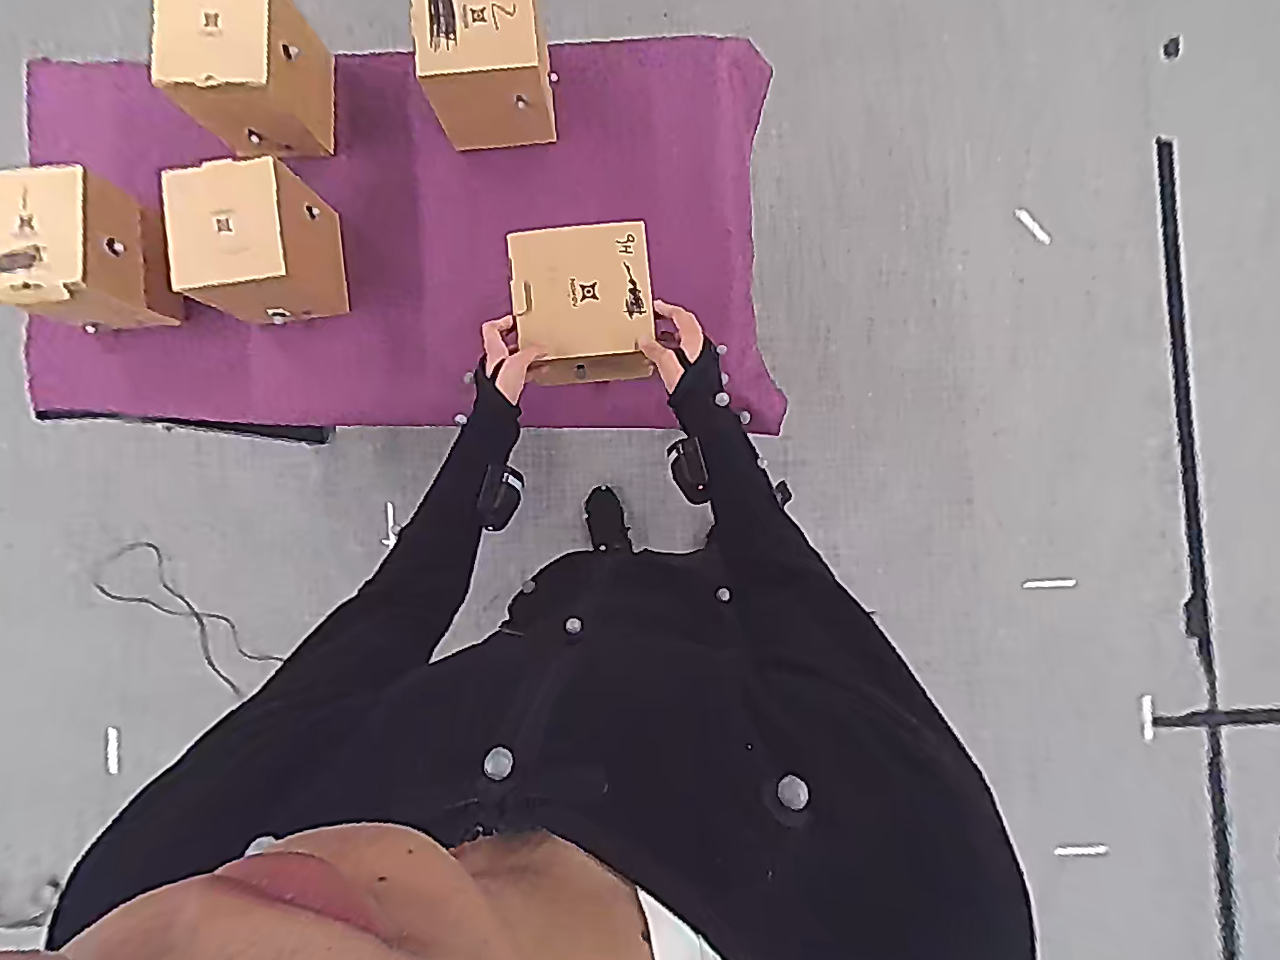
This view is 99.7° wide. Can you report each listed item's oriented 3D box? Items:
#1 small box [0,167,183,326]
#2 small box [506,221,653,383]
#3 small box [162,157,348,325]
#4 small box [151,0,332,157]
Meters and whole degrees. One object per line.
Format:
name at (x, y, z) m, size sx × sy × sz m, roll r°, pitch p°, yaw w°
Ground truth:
small box at (-0.860, -0.349, 0.842) m, size 0.168 × 0.176 × 0.179 m, roll -4°, pitch 87°, yaw 0°
small box at (-0.075, -0.235, 0.754) m, size 0.179 × 0.176 × 0.168 m, roll -5°, pitch 90°, yaw 0°
small box at (-0.586, -0.361, 0.843) m, size 0.168 × 0.176 × 0.179 m, roll -7°, pitch 89°, yaw 1°
small box at (-0.607, -0.643, 0.845) m, size 0.168 × 0.176 × 0.179 m, roll 0°, pitch 89°, yaw 0°
